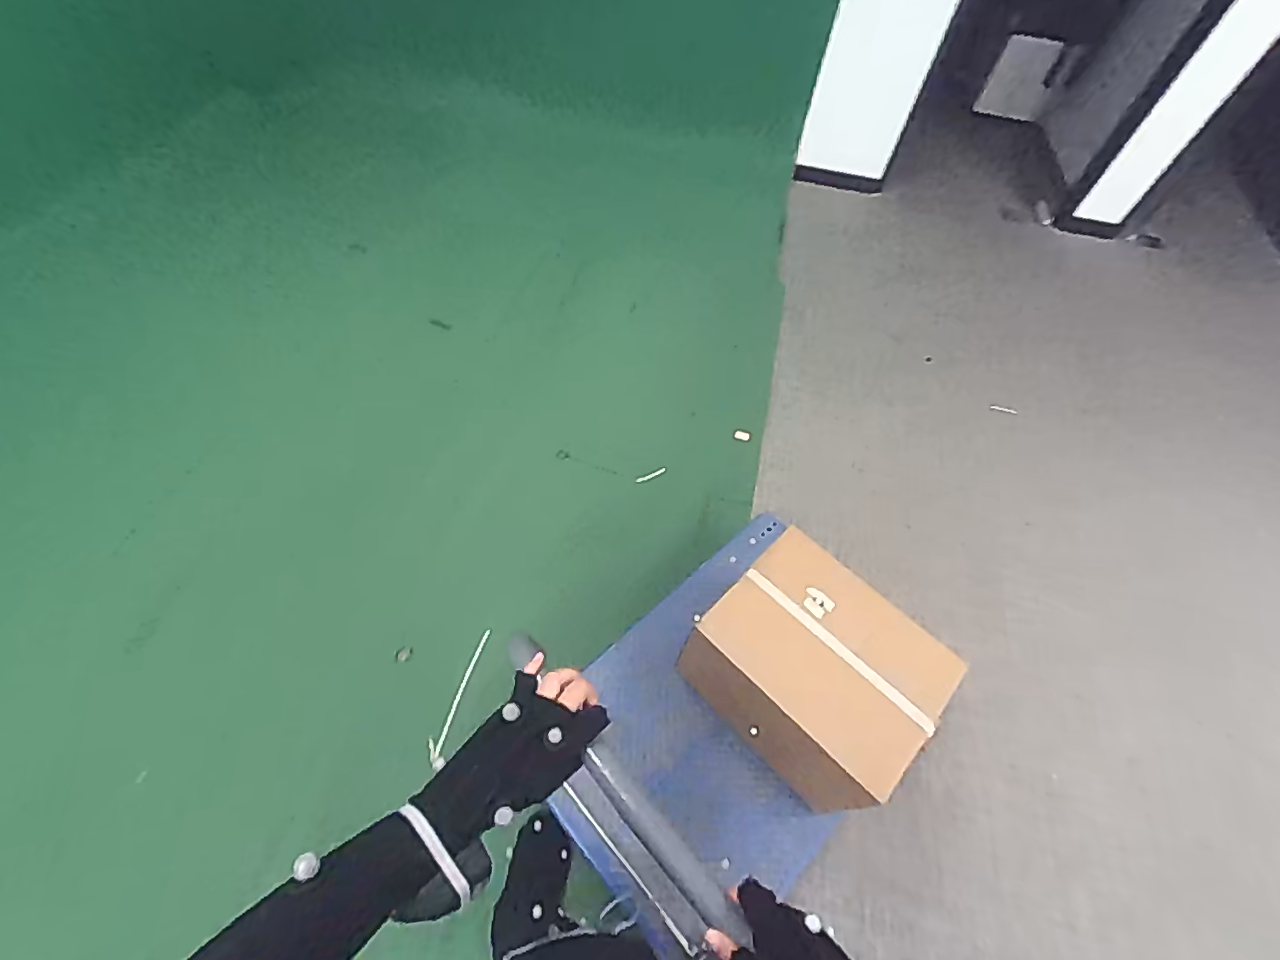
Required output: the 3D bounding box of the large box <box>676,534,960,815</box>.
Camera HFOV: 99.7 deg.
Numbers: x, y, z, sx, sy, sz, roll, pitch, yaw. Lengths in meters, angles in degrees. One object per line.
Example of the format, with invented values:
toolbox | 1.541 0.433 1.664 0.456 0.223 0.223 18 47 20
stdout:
large box | 0.330 0.396 1.106 0.320 0.320 0.408 -37 65 -26
